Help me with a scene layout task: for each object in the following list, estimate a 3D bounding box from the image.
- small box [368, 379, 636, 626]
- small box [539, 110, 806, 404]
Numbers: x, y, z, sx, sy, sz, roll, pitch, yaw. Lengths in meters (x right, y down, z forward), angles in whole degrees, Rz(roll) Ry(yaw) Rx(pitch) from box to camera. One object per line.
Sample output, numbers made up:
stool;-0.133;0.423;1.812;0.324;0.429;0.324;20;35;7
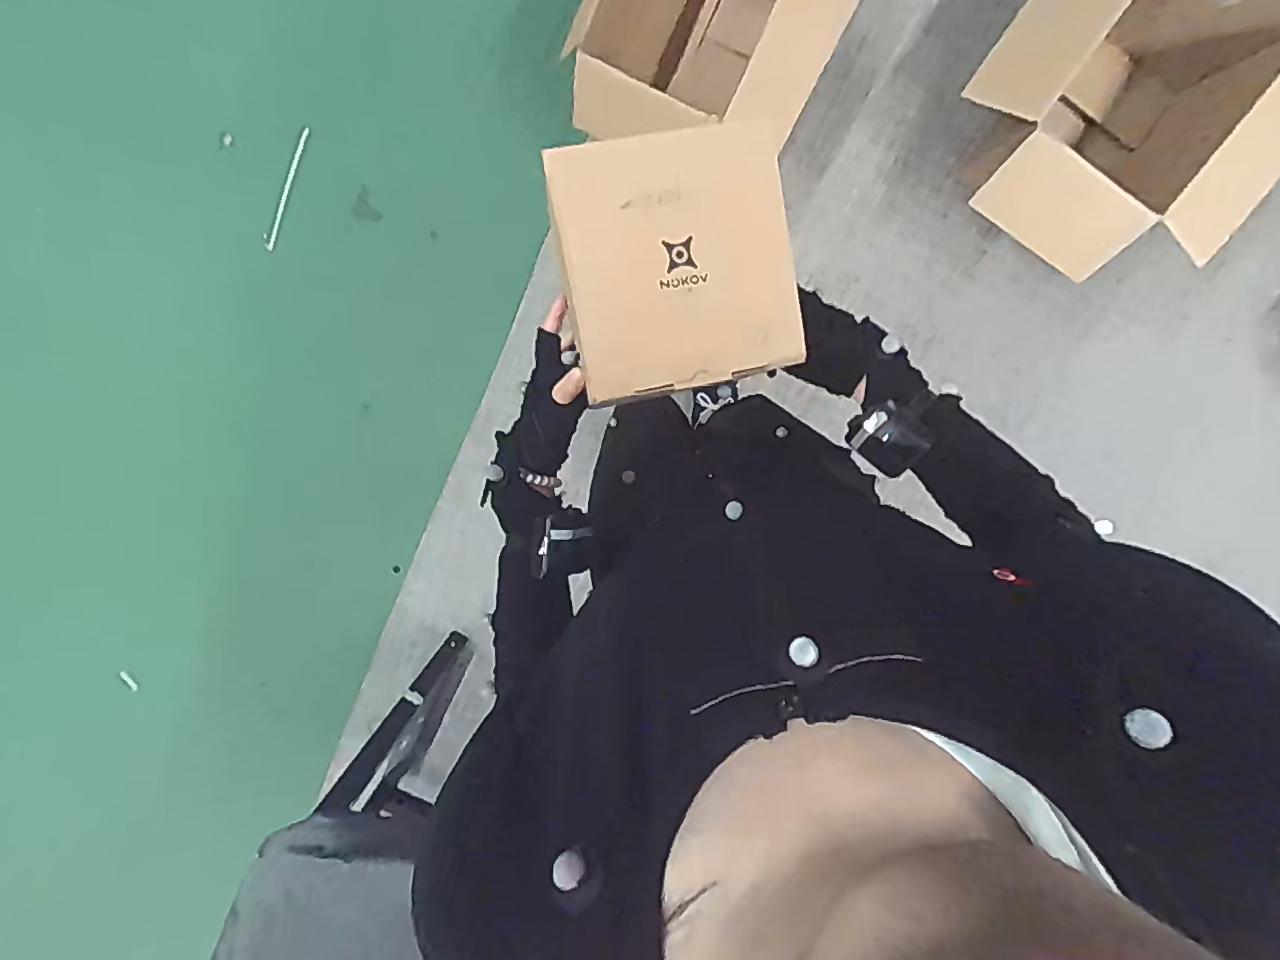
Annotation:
small box;-0.132;0.026;0.554;0.176;0.168;0.179;31;82;19
small box;0.019;-0.165;0.458;0.168;0.176;0.179;-13;98;-6
